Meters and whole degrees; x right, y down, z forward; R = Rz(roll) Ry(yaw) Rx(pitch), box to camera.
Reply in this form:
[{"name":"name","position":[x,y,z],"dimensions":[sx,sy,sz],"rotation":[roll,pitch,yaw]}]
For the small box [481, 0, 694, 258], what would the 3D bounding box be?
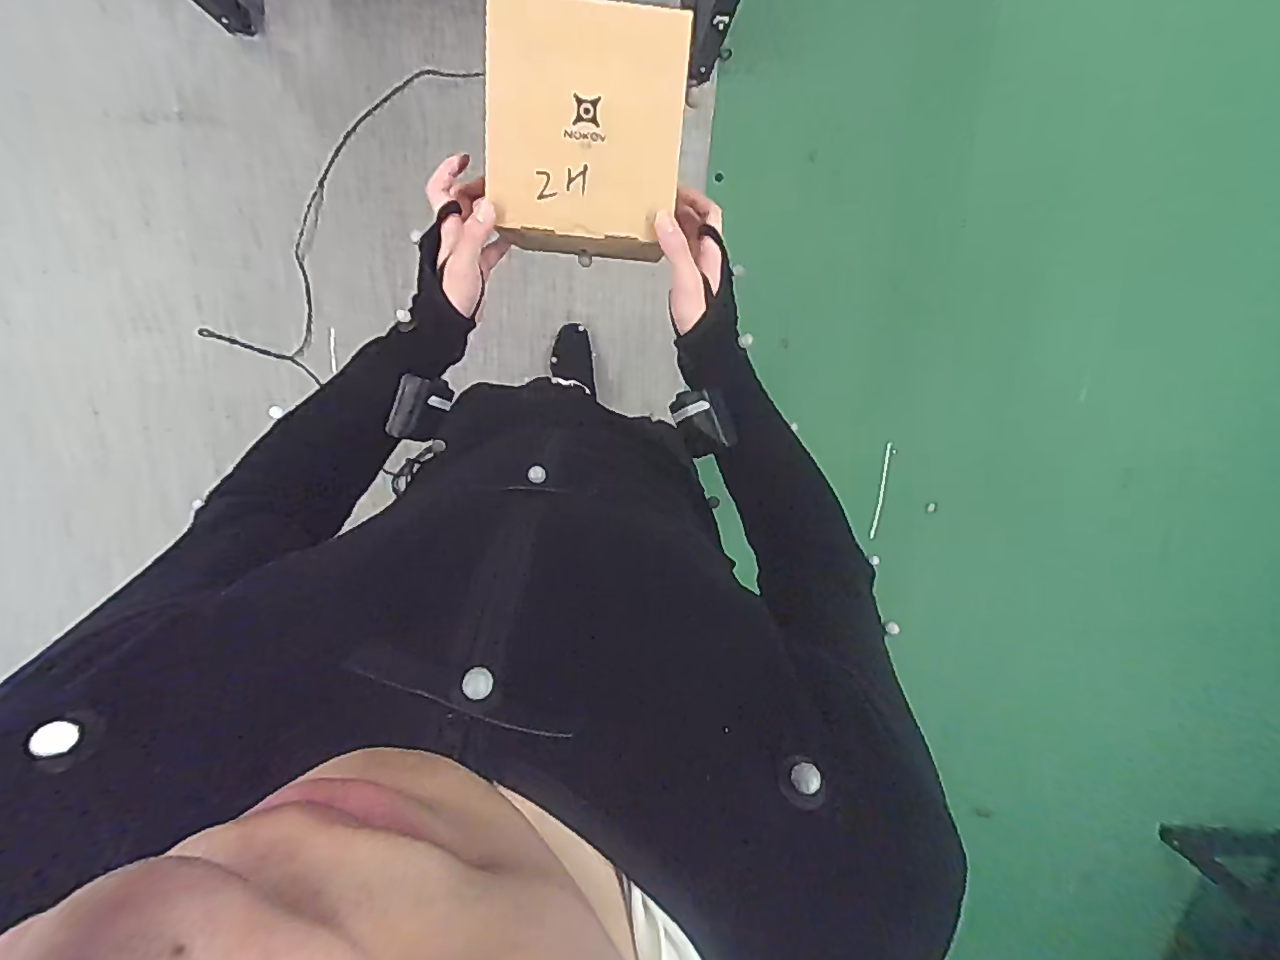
[{"name":"small box","position":[-0.049,-0.325,0.521],"dimensions":[0.168,0.176,0.179],"rotation":[5,106,-3]}]
